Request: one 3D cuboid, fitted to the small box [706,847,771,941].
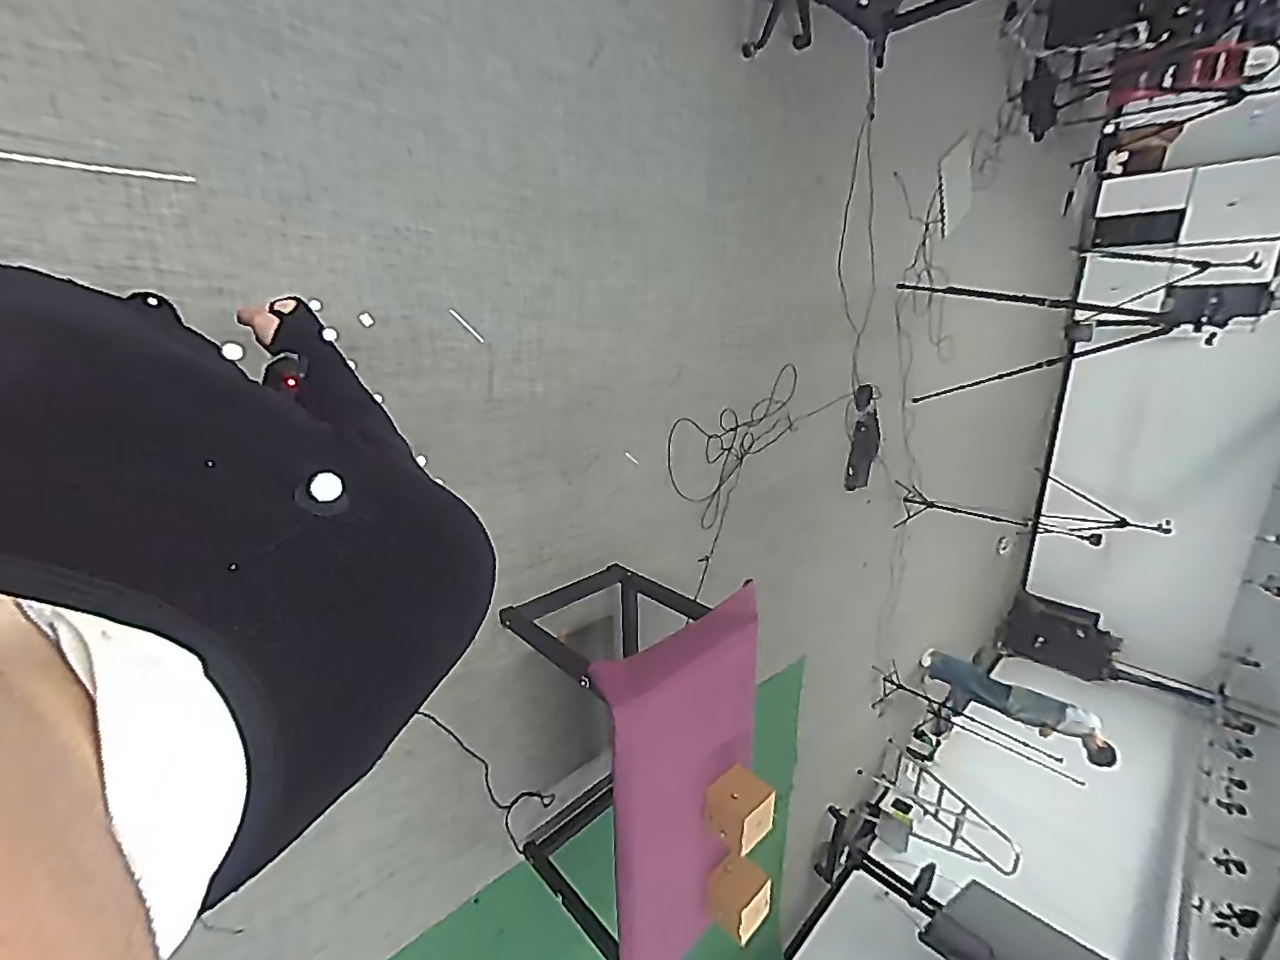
[{"bbox_3d":[0.356,1.510,1.983,0.179,0.176,0.168,-15,111,-40],"label":"small box"}]

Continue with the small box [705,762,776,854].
[{"bbox_3d":[0.343,1.121,1.861,0.179,0.176,0.168,-12,111,-41],"label":"small box"}]
